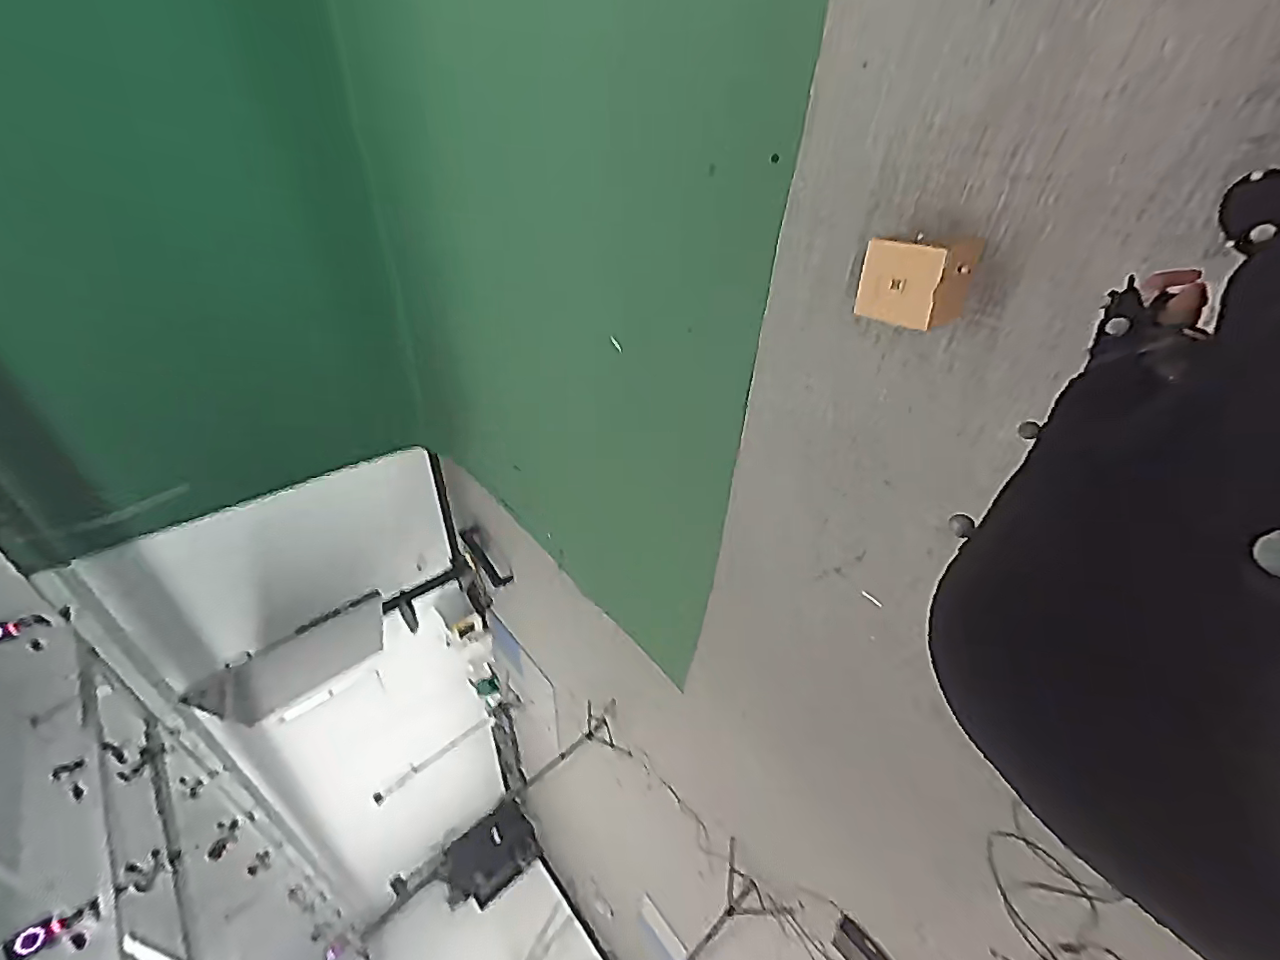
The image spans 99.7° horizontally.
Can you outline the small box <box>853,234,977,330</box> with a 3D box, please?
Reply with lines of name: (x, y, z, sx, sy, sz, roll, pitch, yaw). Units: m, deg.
small box: (0.615, -0.450, 1.210, 0.179, 0.176, 0.168, 32, 134, 40)
